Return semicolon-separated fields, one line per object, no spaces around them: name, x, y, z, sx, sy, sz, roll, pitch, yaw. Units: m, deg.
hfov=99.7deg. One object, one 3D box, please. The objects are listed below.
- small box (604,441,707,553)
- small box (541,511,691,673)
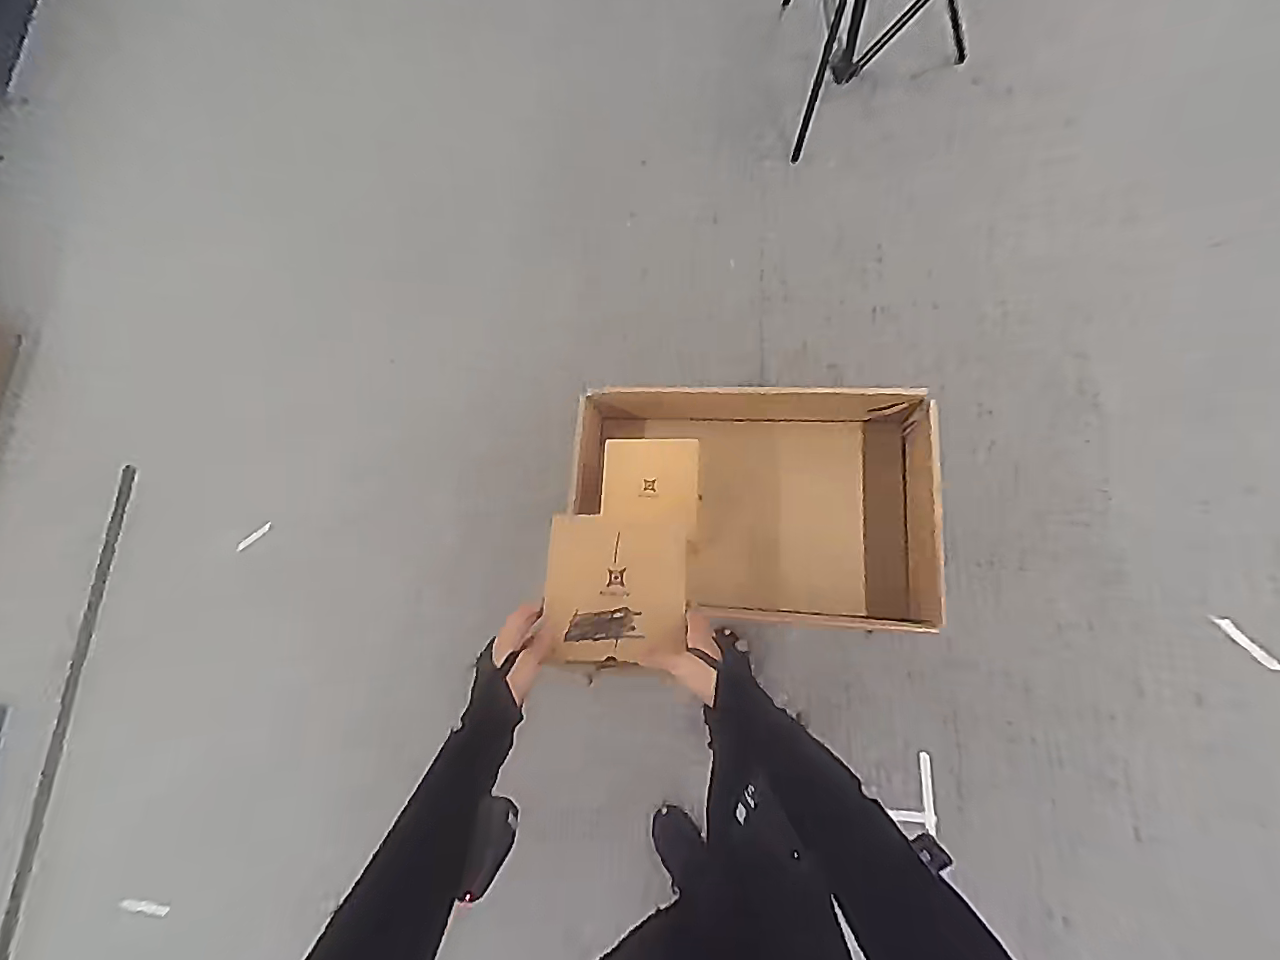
small box;0.034;0.035;0.987;0.168;0.176;0.179;0;78;10
small box;-0.018;0.150;0.695;0.168;0.176;0.179;-1;65;6
